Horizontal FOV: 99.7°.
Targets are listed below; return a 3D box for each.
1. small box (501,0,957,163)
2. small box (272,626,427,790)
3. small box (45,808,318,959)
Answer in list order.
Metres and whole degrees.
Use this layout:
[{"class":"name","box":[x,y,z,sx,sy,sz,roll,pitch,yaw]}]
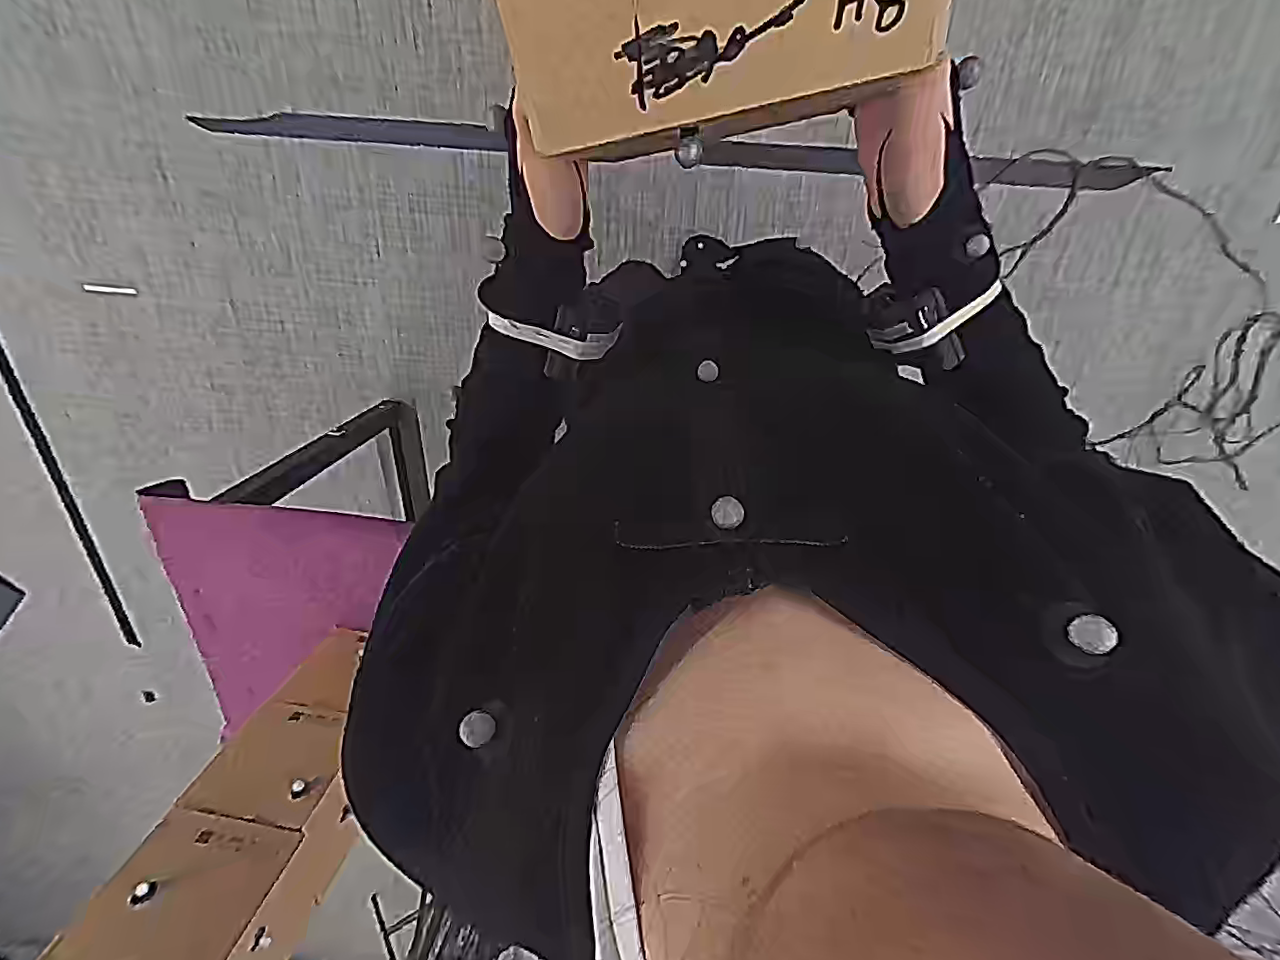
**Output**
[{"class":"small box","box":[0.030,-0.260,0.245,0.168,0.176,0.179,-6,118,12]},{"class":"small box","box":[-0.476,0.381,0.915,0.168,0.176,0.179,10,116,0]},{"class":"small box","box":[-0.502,0.516,0.619,0.168,0.176,0.179,12,117,1]}]
